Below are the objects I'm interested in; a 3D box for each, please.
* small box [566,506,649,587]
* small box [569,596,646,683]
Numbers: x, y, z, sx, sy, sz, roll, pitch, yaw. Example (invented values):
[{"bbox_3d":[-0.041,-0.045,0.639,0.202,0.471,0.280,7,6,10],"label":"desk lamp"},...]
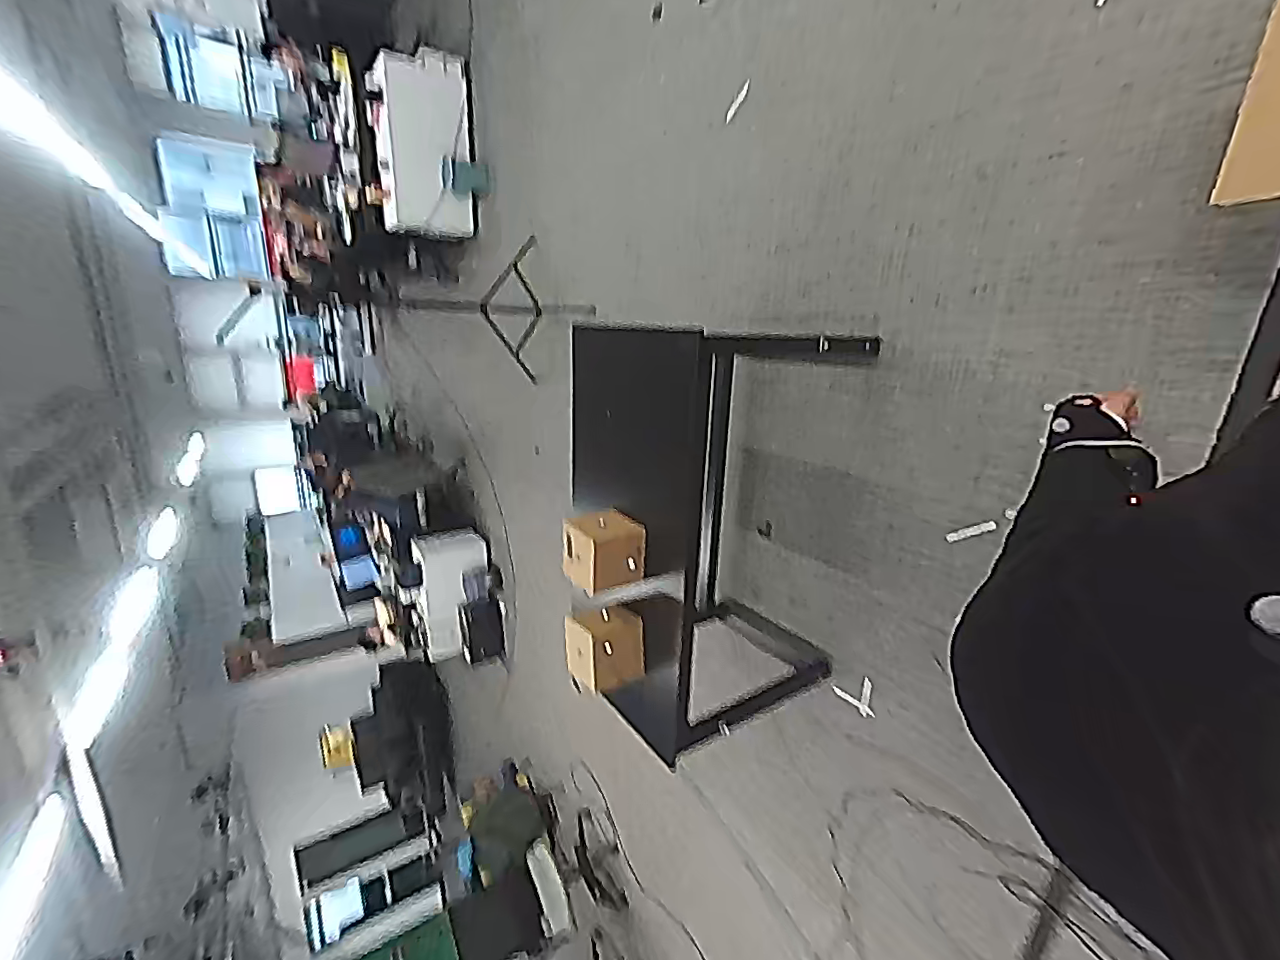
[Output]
[{"bbox_3d":[-0.095,0.179,1.529,0.179,0.176,0.168,25,119,51],"label":"small box"},{"bbox_3d":[-0.095,0.461,1.596,0.168,0.176,0.179,13,109,55],"label":"small box"}]
